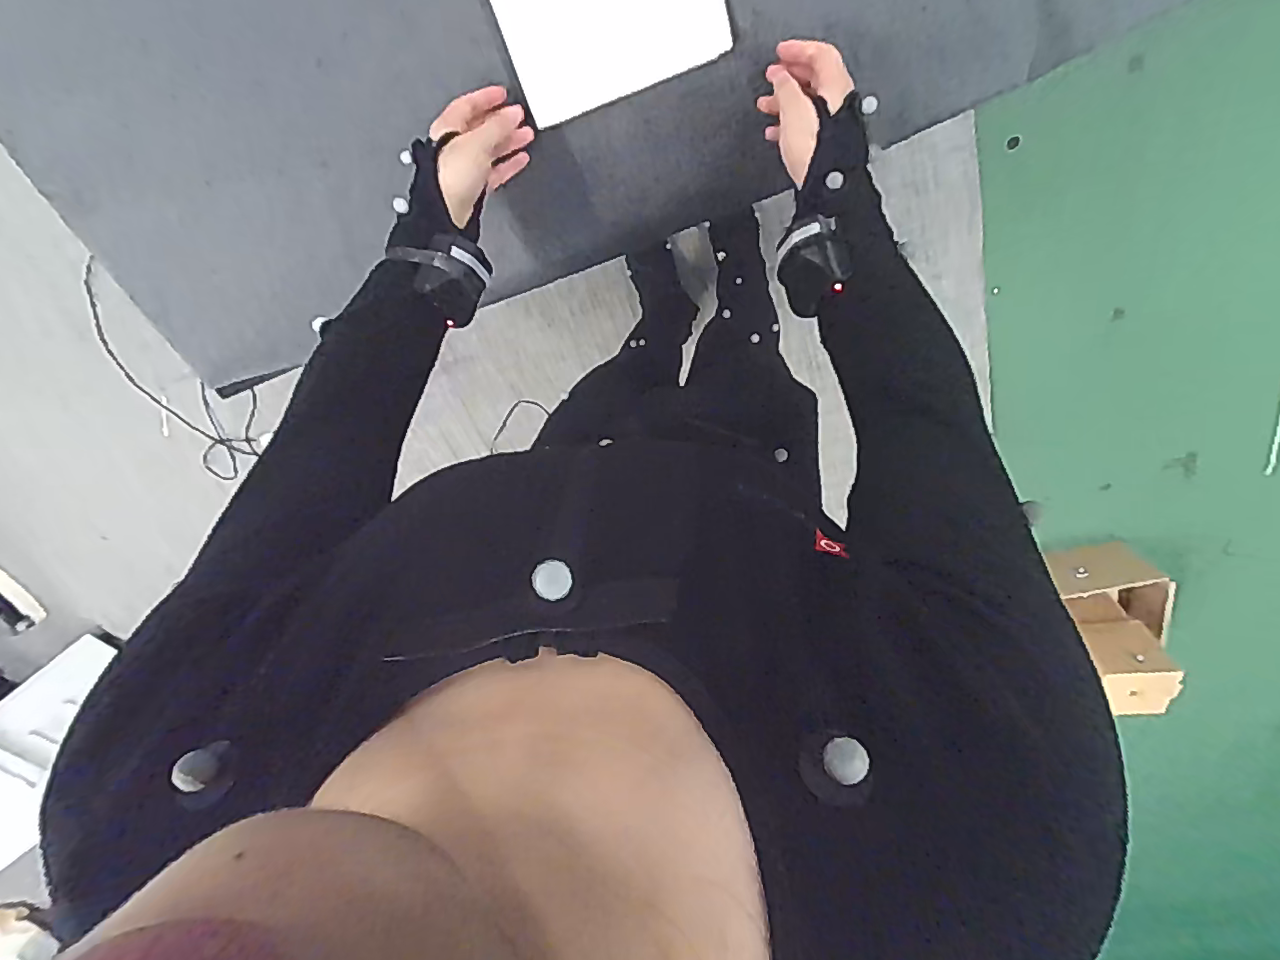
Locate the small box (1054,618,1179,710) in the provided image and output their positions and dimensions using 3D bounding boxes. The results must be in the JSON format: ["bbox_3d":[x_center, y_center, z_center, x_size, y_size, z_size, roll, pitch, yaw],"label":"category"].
[{"bbox_3d":[1.254,0.487,1.443,0.179,0.176,0.168,-6,121,9],"label":"small box"}]

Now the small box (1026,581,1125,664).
[{"bbox_3d":[1.277,0.418,1.590,0.168,0.176,0.179,-2,121,6],"label":"small box"}]
